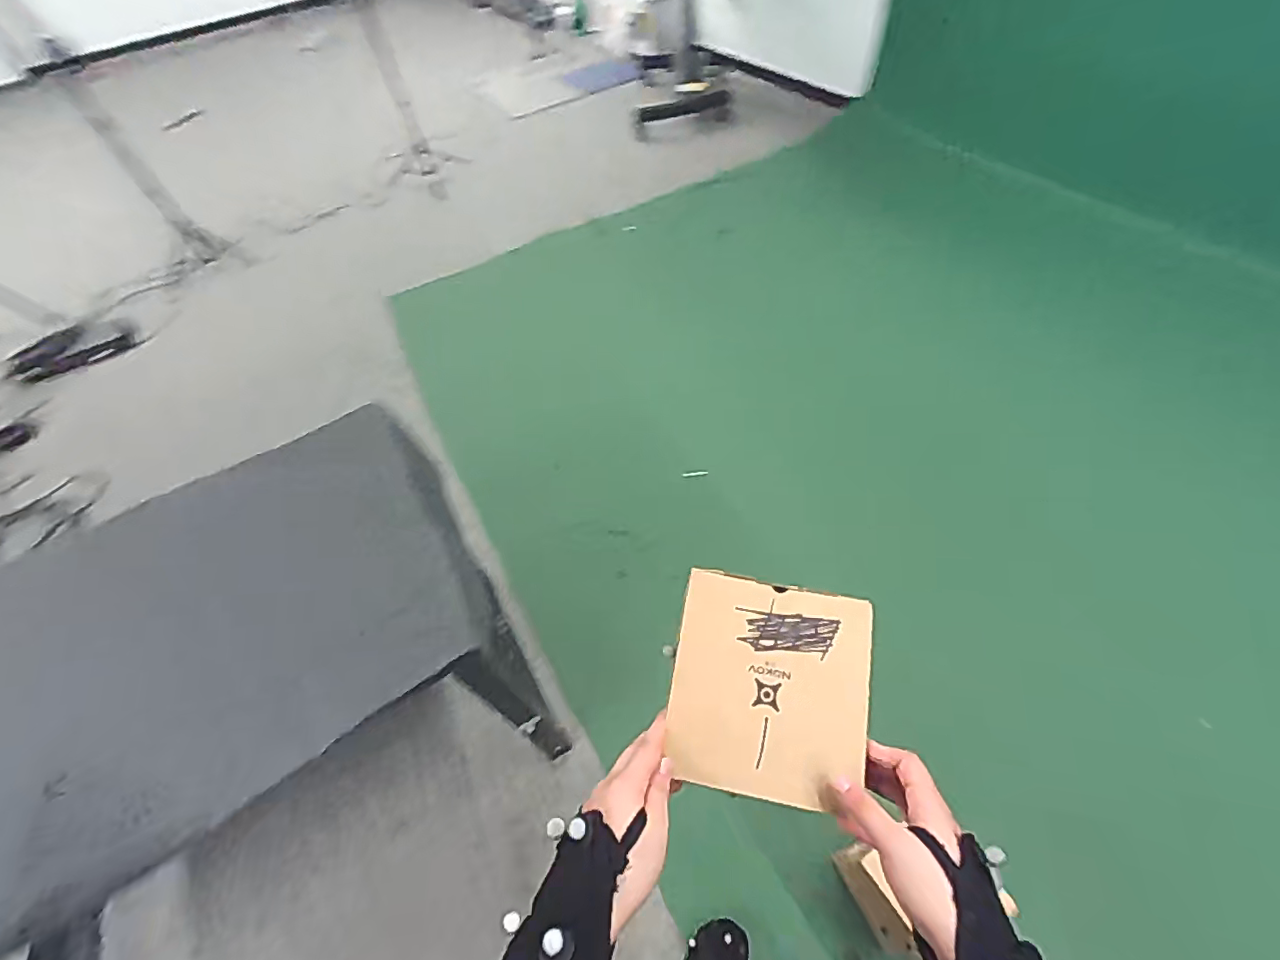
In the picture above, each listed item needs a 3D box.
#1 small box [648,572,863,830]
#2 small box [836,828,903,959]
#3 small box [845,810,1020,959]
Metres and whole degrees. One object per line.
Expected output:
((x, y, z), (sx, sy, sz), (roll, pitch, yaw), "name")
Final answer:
((0.102, 0.205, 0.523), (0.168, 0.176, 0.179), (9, 69, 6), "small box")
((0.510, 0.797, 1.052), (0.168, 0.176, 0.179), (-22, 53, -10), "small box")
((0.483, 0.703, 0.921), (0.168, 0.176, 0.179), (-29, 54, -15), "small box")
